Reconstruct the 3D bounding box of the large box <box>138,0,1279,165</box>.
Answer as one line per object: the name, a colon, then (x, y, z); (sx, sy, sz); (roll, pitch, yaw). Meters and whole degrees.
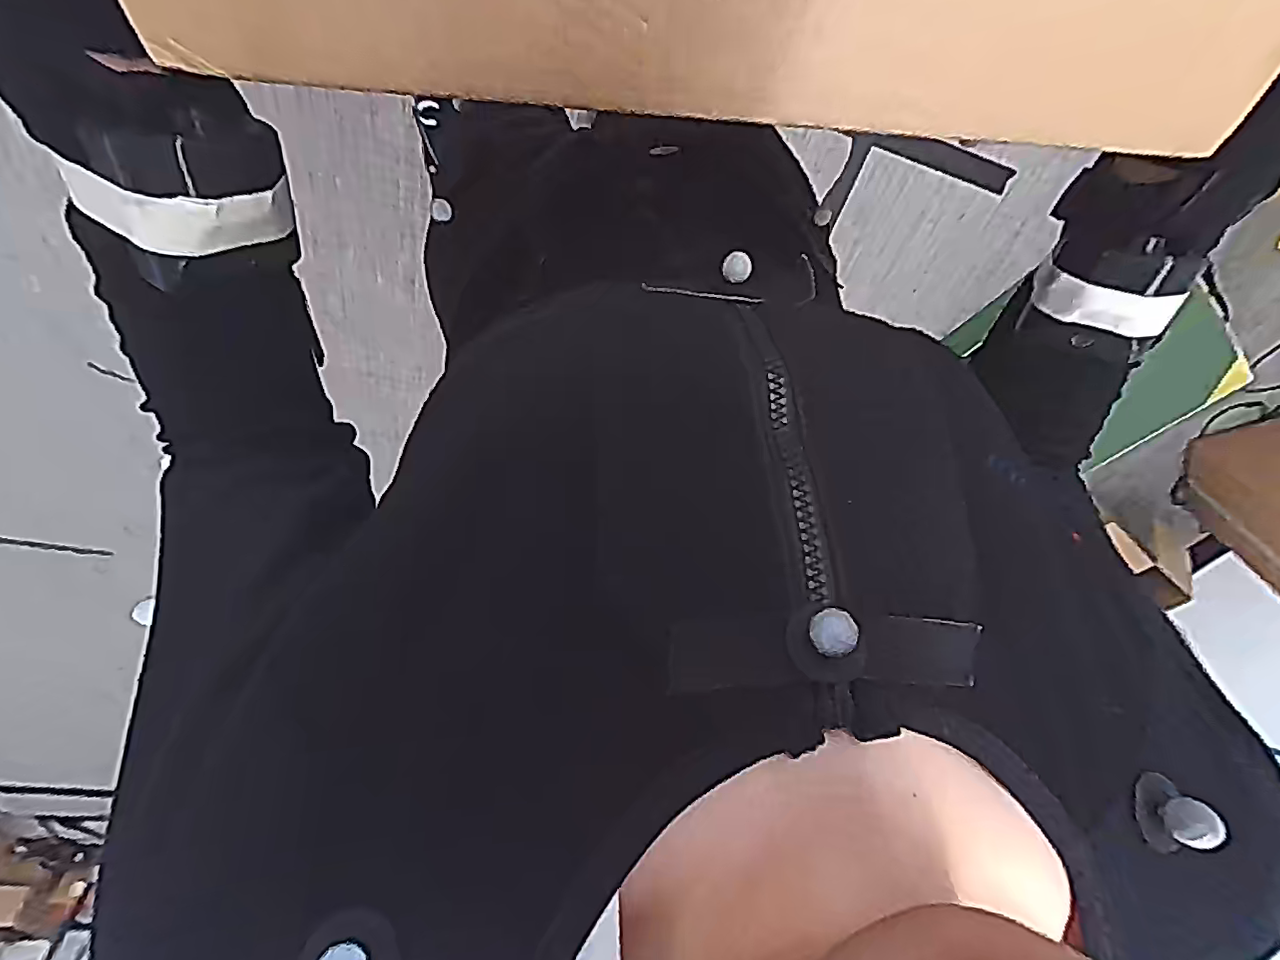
large box: (0.034, -0.347, 0.200); (0.408, 0.320, 0.320); (-1, 138, -7)
